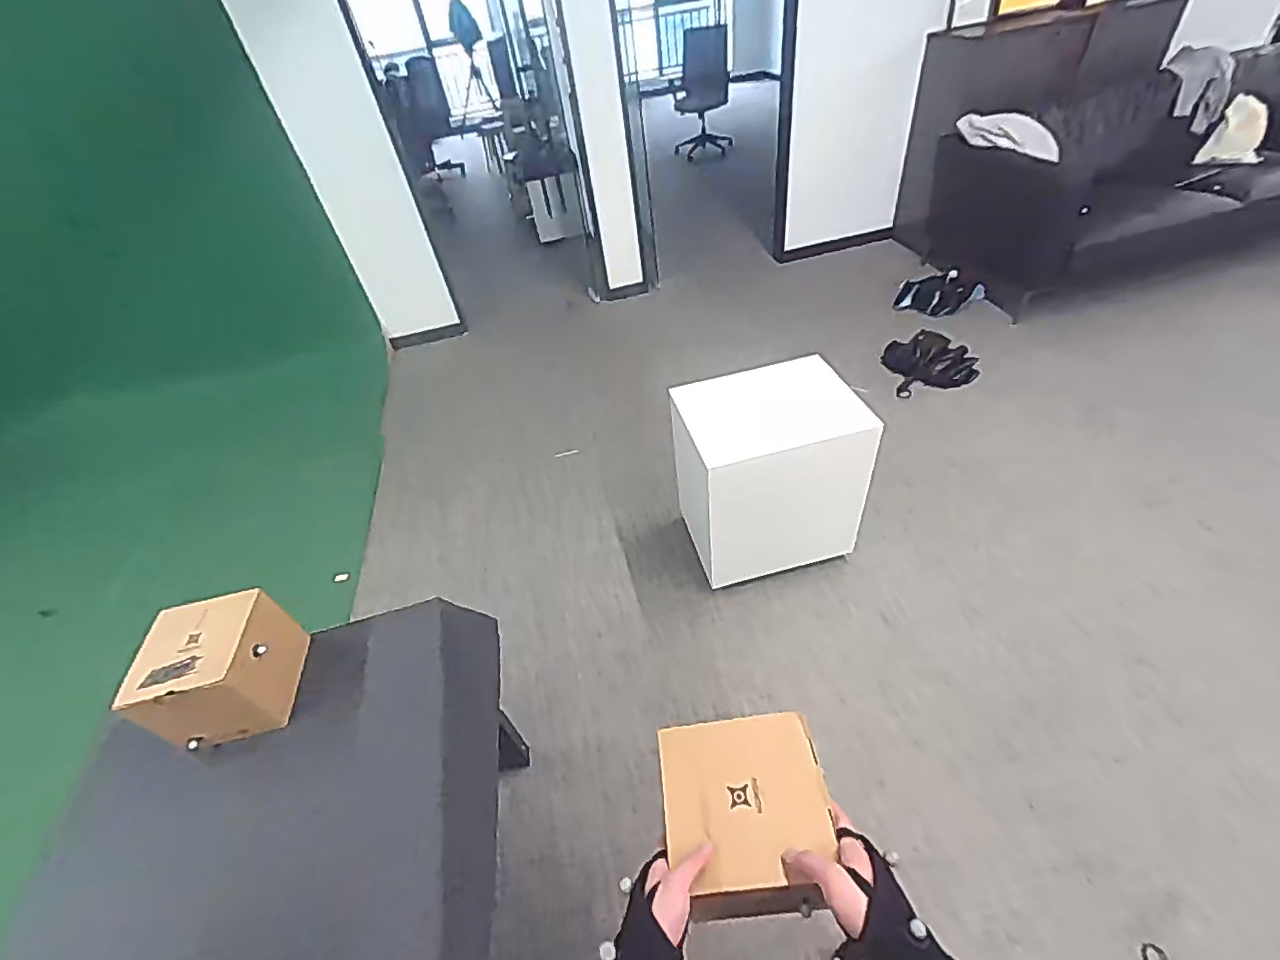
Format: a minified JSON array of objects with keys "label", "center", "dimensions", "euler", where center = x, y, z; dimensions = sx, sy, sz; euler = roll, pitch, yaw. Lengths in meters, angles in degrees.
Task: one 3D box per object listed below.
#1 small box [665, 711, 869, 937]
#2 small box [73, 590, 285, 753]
[{"label":"small box","center":[0.132,0.390,0.612],"dimensions":[0.179,0.176,0.168],"euler":[-11,41,2]},{"label":"small box","center":[-0.702,0.307,0.854],"dimensions":[0.168,0.176,0.179],"euler":[-12,42,-7]}]
